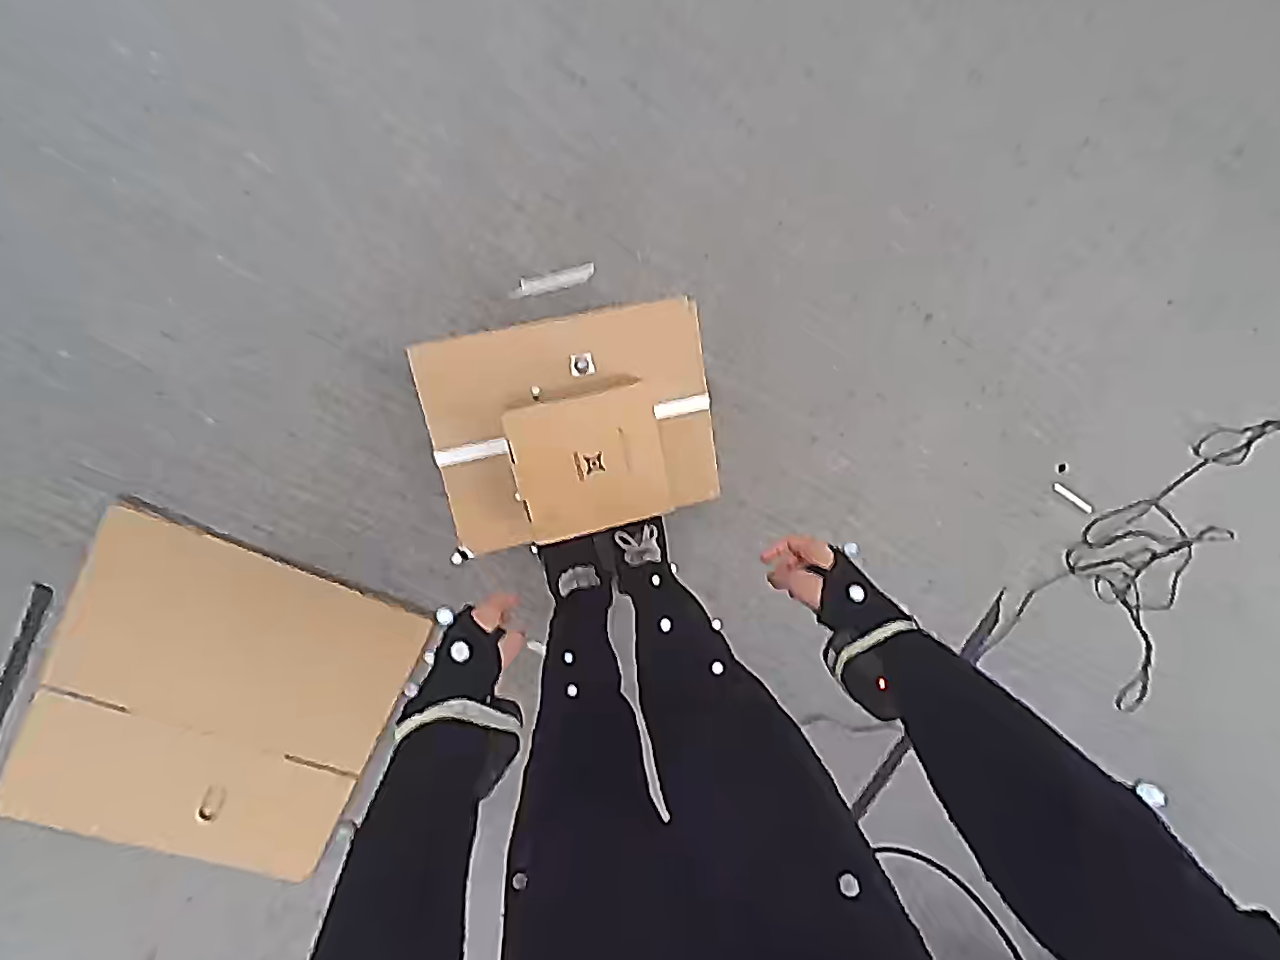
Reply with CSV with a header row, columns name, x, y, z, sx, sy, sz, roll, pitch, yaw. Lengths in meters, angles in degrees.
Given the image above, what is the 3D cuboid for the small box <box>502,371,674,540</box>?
name,x,y,z,sx,sy,sz,roll,pitch,yaw
small box,-0.069,-0.043,0.712,0.179,0.176,0.168,-15,107,-7
